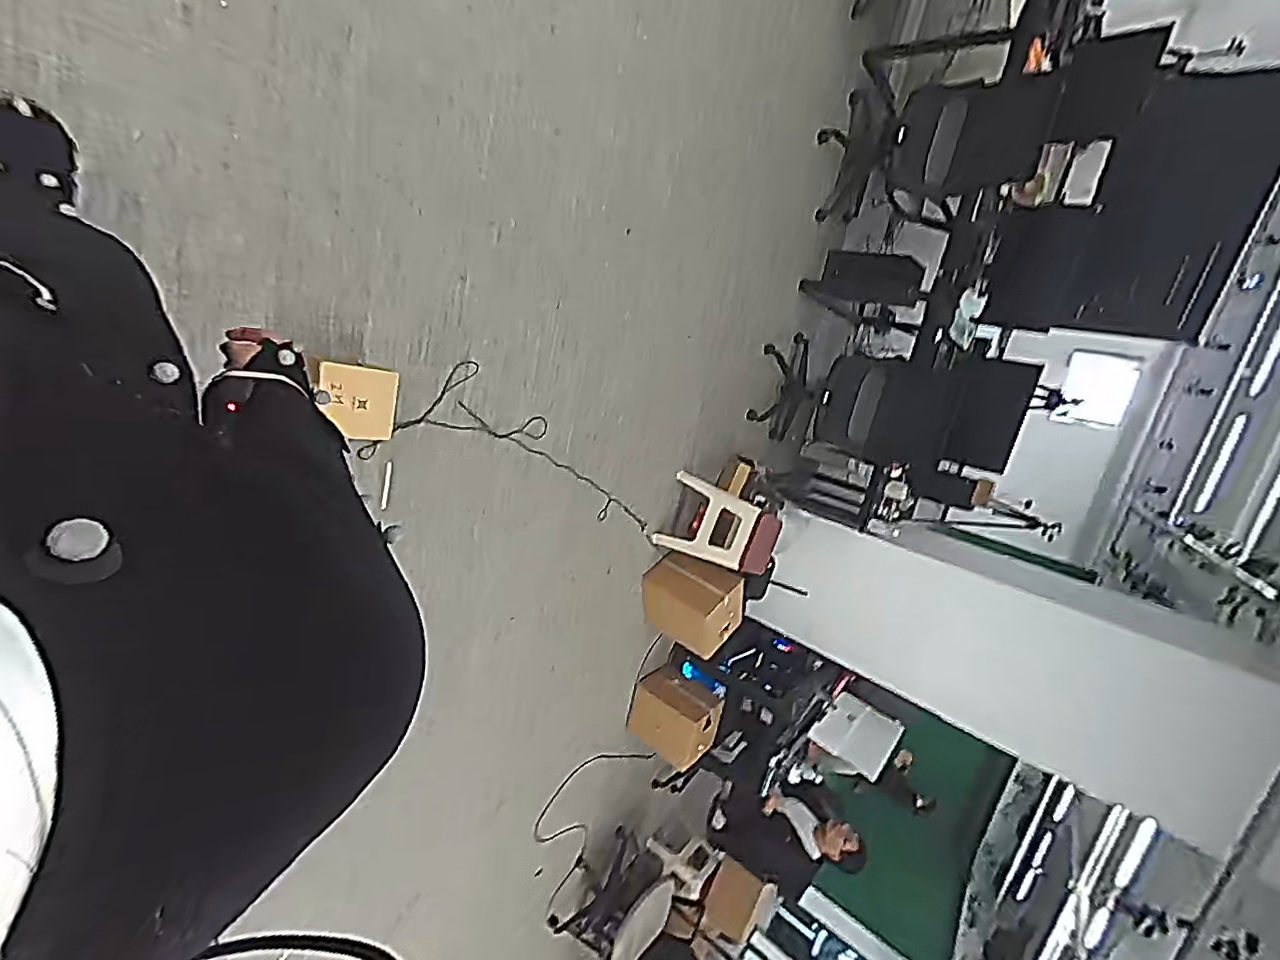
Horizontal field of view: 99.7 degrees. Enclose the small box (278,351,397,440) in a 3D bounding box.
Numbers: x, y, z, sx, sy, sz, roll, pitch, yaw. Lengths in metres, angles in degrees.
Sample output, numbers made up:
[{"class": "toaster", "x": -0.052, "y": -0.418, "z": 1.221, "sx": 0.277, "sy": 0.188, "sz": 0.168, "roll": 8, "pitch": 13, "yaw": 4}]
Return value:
[{"class": "small box", "x": -0.697, "y": -0.195, "z": 1.247, "sx": 0.179, "sy": 0.176, "sz": 0.168, "roll": 0, "pitch": 105, "yaw": -53}]
